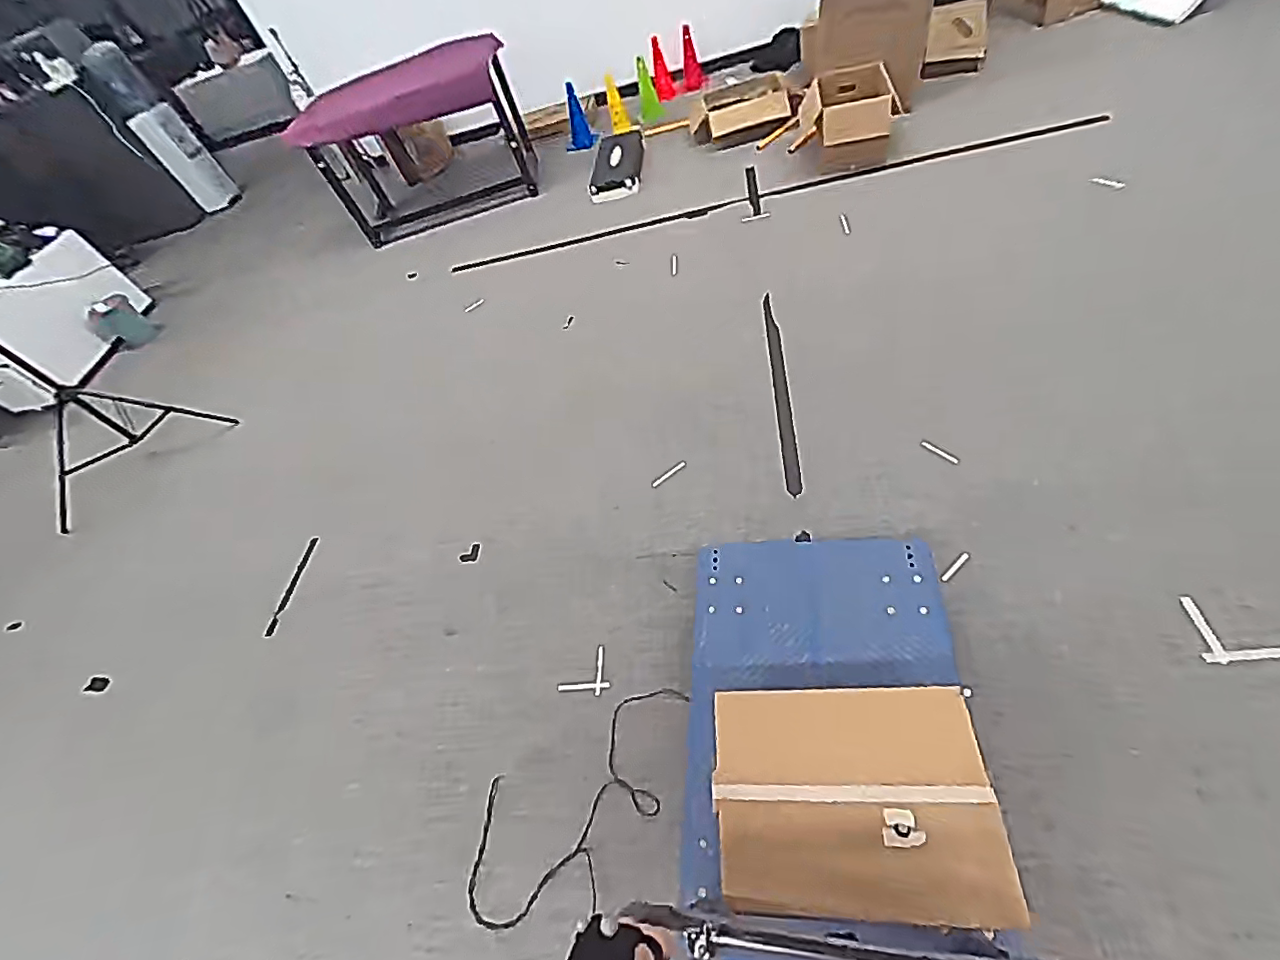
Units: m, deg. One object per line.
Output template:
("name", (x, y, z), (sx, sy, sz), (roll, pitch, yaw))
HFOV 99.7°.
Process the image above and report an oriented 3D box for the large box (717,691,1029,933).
("large box", (0.359, 0.581, 0.952), (0.408, 0.320, 0.320), (-6, 53, 12))
